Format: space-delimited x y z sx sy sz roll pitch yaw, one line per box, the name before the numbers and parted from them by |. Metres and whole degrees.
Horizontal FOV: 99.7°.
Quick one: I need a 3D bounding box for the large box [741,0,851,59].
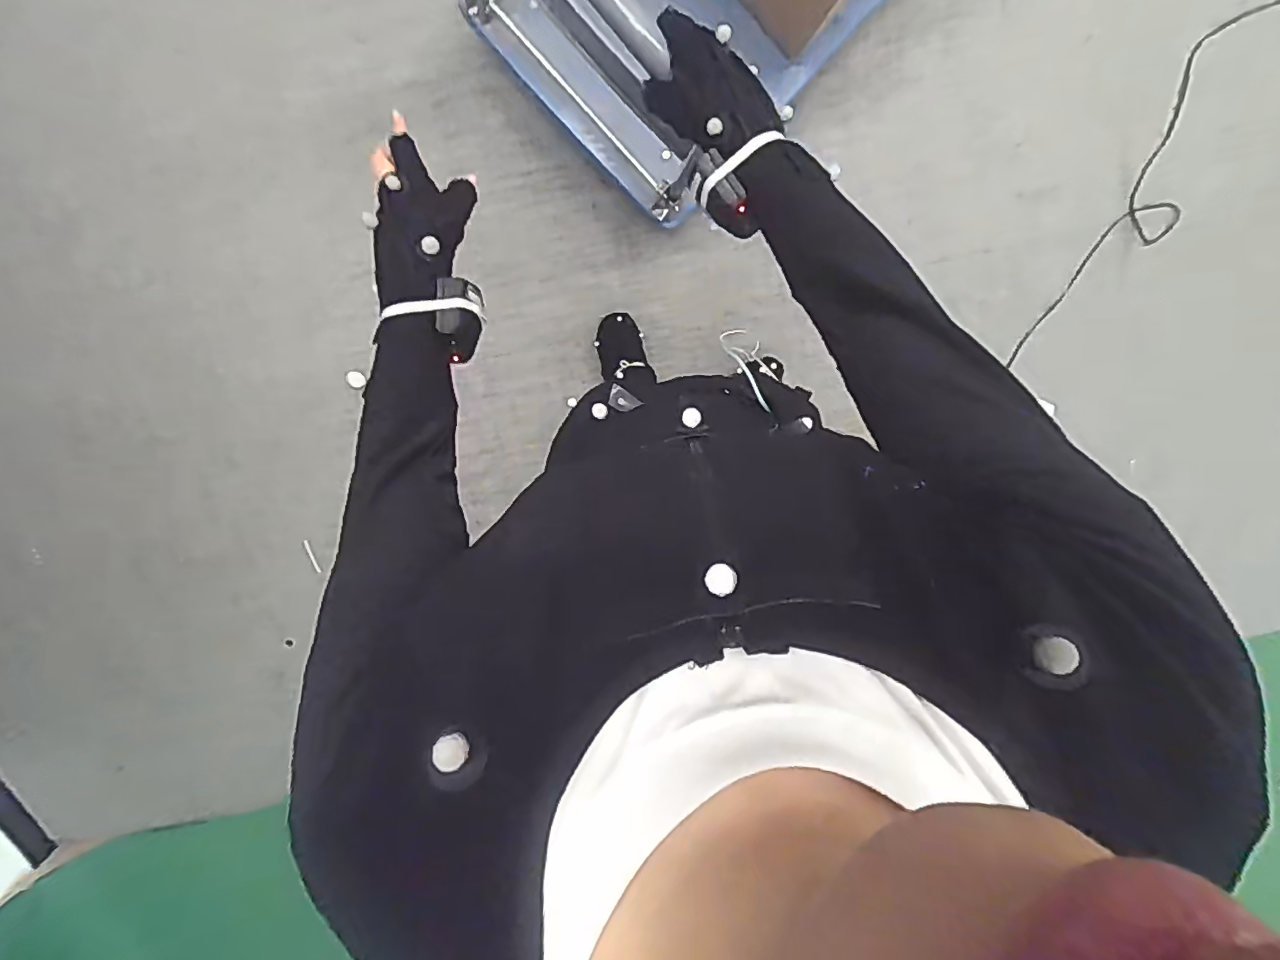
large box | 0.252 -0.985 0.829 0.408 0.320 0.320 40 104 -12
